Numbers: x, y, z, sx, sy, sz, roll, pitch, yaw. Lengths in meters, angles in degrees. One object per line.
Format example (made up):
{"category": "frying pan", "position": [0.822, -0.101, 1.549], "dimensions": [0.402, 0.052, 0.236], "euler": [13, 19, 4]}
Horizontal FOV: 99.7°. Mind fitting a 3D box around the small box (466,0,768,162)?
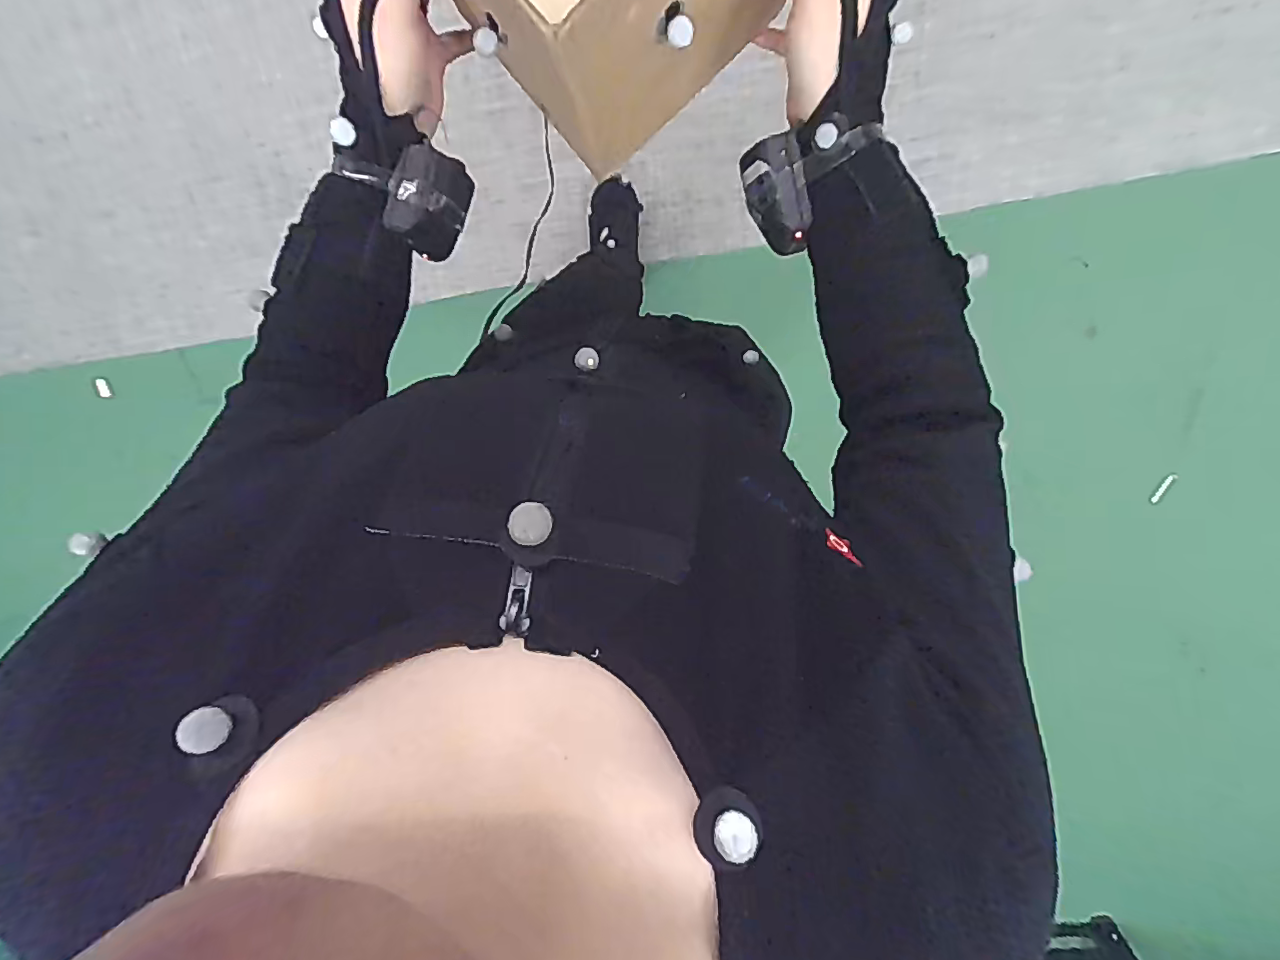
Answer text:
{"category": "small box", "position": [-0.023, -0.336, 0.317], "dimensions": [0.179, 0.176, 0.168], "euler": [-40, 94, 9]}
